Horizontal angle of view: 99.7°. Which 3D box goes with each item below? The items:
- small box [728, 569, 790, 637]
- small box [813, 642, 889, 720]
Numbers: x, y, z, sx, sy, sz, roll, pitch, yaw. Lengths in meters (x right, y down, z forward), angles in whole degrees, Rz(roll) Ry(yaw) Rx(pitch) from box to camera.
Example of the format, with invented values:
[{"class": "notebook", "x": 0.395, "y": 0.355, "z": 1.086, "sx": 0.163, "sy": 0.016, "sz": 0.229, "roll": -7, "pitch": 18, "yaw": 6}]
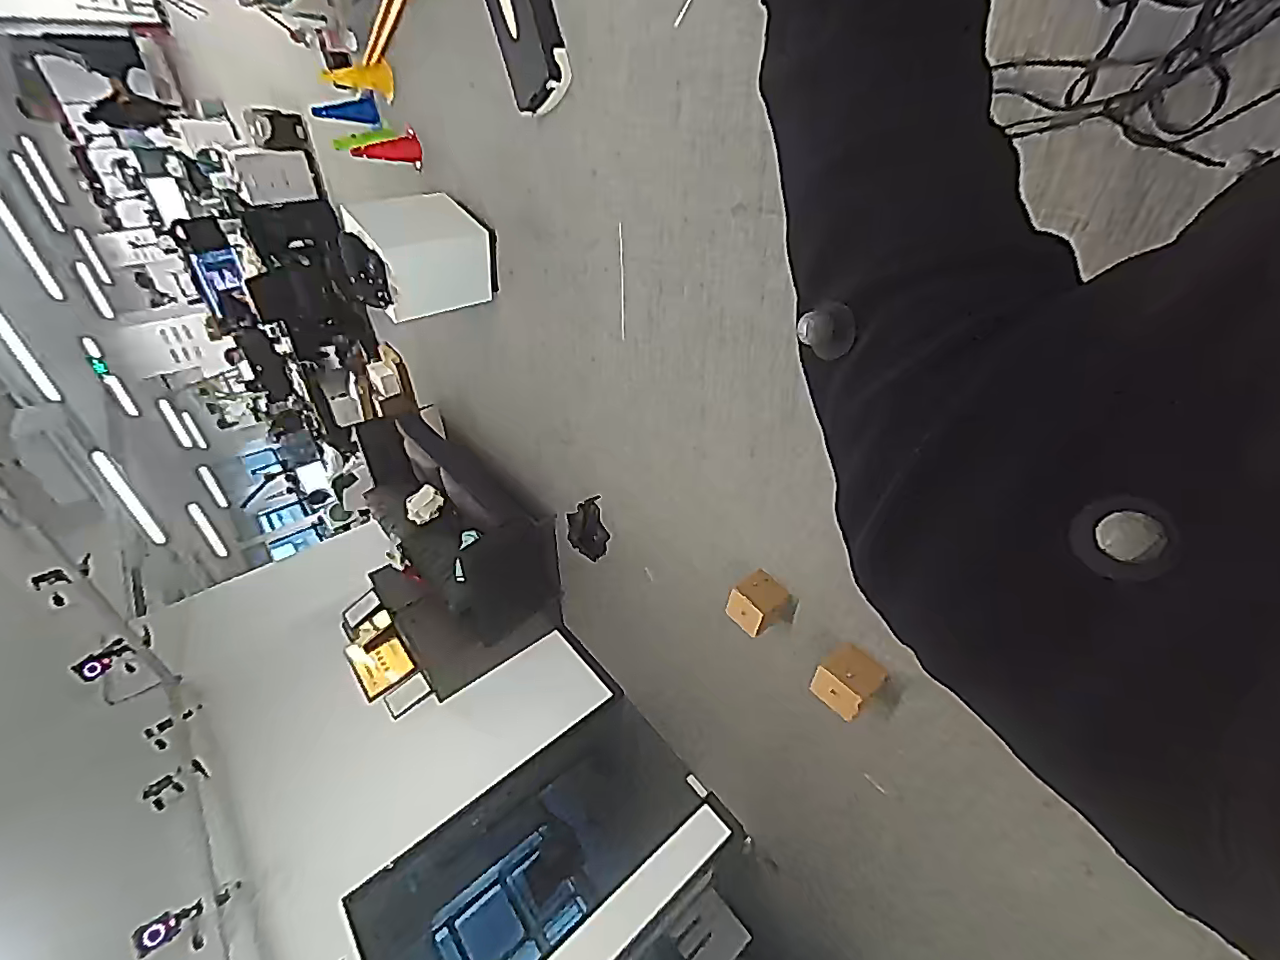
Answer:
[{"class": "small box", "x": 0.486, "y": 0.494, "z": 2.201, "sx": 0.168, "sy": 0.176, "sz": 0.179, "roll": 41, "pitch": 143, "yaw": 34}, {"class": "small box", "x": 0.763, "y": 0.717, "z": 1.957, "sx": 0.179, "sy": 0.176, "sz": 0.168, "roll": 36, "pitch": 140, "yaw": 36}]
